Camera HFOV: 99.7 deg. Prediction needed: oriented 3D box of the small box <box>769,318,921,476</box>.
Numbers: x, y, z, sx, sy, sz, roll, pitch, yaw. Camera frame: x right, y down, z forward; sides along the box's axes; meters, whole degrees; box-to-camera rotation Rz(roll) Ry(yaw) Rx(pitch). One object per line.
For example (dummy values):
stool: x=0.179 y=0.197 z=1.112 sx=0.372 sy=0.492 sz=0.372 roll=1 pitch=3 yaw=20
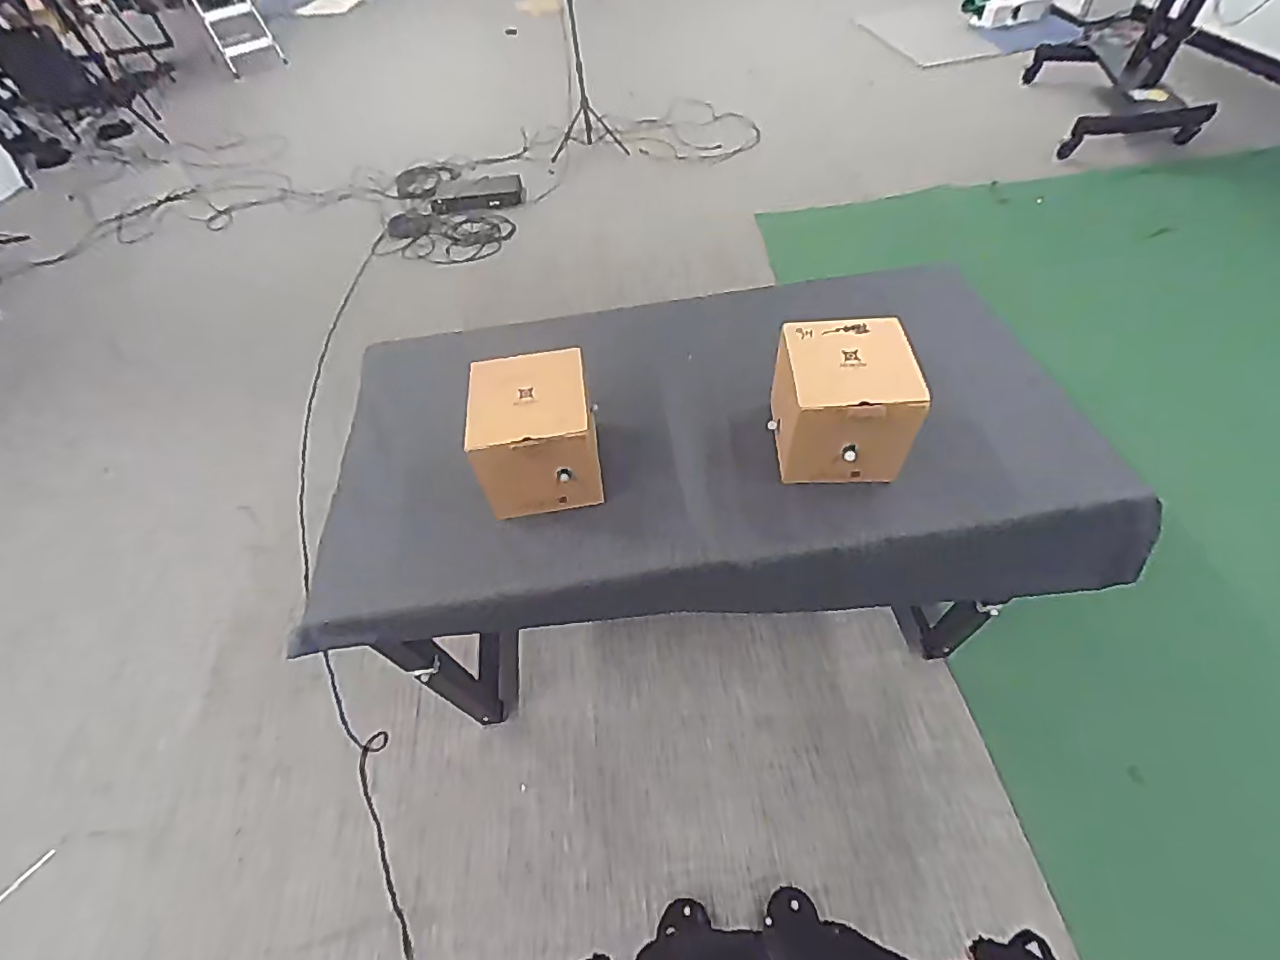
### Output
small box: x=0.291 y=-0.116 z=0.810 sx=0.168 sy=0.176 sz=0.179 roll=-2 pitch=55 yaw=5

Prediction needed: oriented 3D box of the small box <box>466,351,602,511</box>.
small box: x=-0.155 y=-0.066 z=0.826 sx=0.168 sy=0.176 sz=0.179 roll=-9 pitch=52 yaw=-2
